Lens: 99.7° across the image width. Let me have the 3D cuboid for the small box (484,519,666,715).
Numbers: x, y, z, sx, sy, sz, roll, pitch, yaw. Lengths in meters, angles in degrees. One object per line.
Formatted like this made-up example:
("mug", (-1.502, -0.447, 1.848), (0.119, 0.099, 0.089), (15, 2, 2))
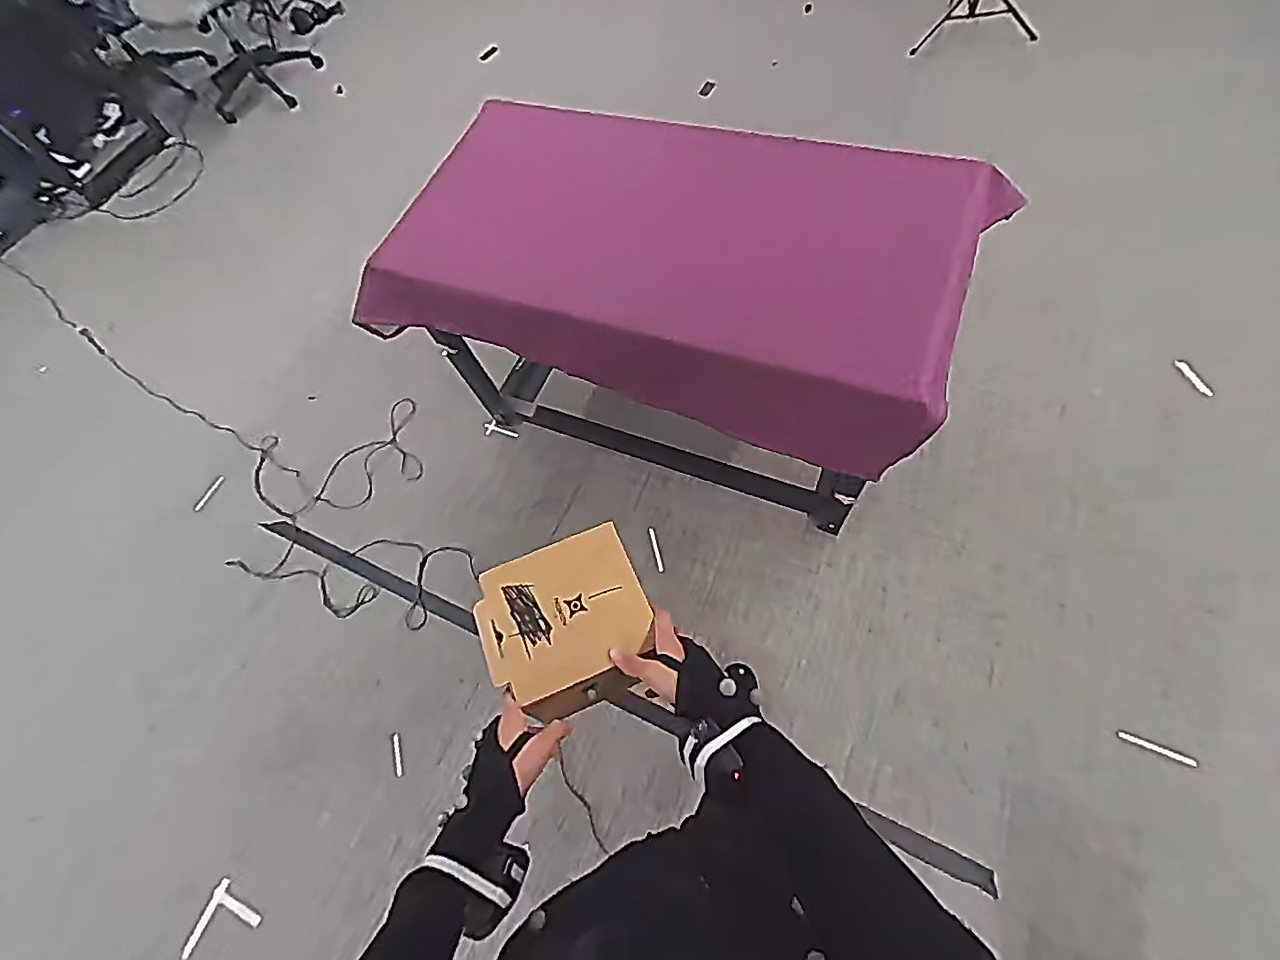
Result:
("small box", (-0.076, 0.182, 0.692), (0.179, 0.176, 0.168), (-20, 62, -10))
